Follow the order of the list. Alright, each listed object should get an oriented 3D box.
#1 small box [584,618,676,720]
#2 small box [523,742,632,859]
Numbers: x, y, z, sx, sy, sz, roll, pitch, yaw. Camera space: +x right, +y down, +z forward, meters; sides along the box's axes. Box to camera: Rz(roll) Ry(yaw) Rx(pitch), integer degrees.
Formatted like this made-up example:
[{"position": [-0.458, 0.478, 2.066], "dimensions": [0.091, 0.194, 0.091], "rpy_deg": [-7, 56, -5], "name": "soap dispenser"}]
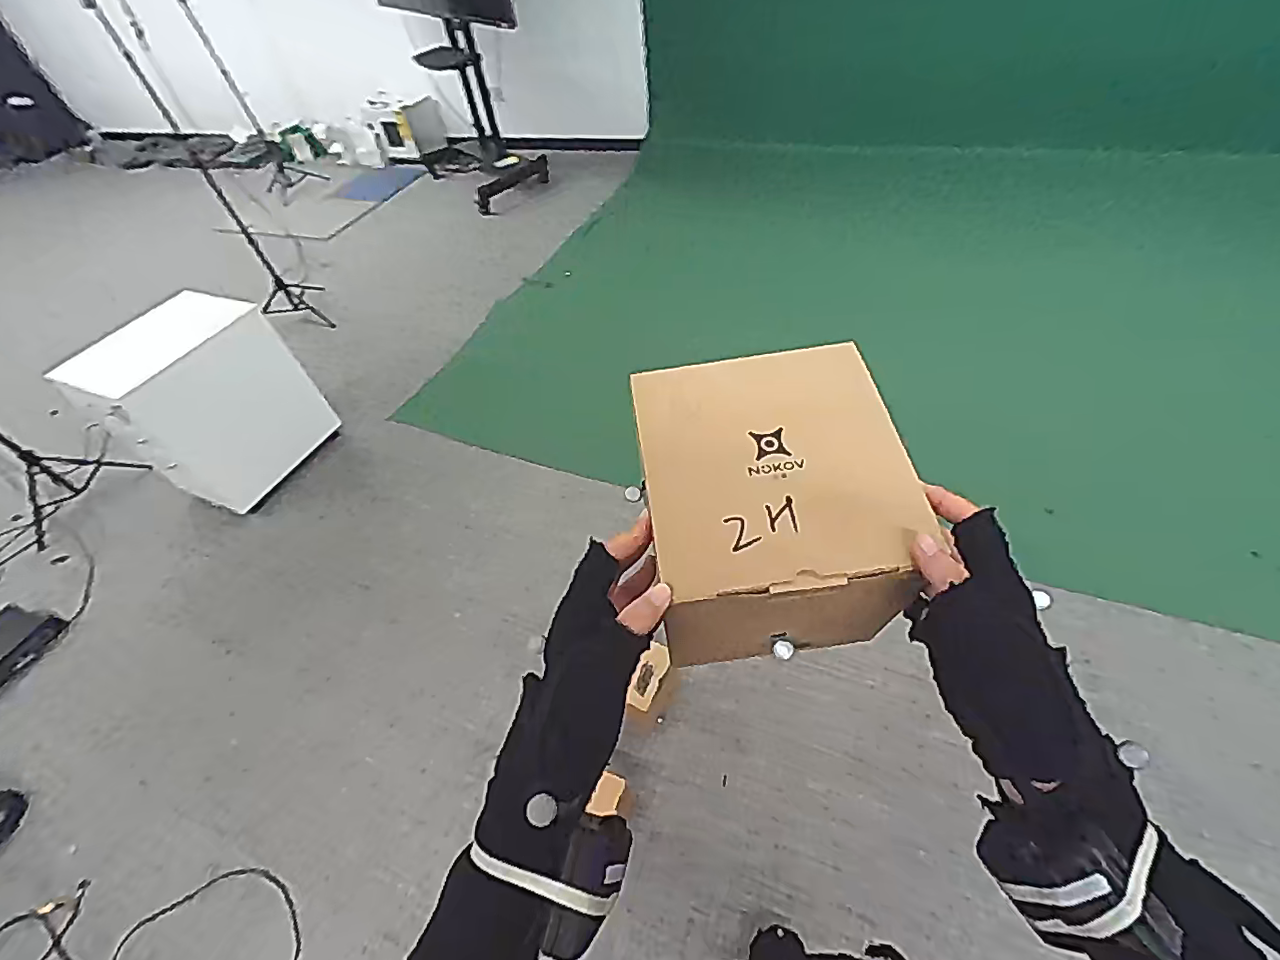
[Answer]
[{"position": [-0.017, 0.494, 1.399], "dimensions": [0.179, 0.176, 0.168], "rpy_deg": [19, 54, 23], "name": "small box"}, {"position": [-0.132, 0.726, 1.220], "dimensions": [0.179, 0.176, 0.168], "rpy_deg": [14, 54, 18], "name": "small box"}]
